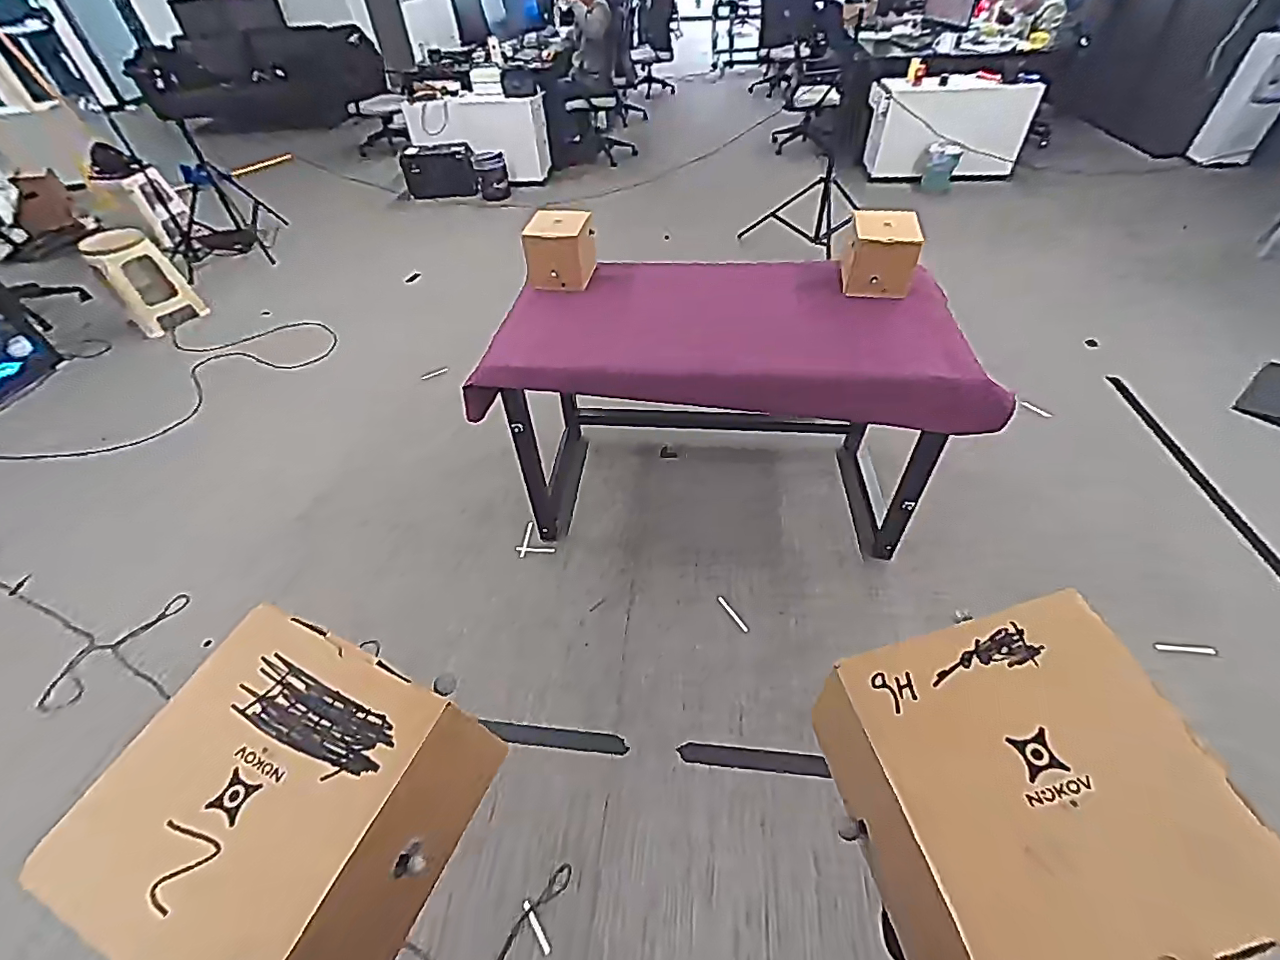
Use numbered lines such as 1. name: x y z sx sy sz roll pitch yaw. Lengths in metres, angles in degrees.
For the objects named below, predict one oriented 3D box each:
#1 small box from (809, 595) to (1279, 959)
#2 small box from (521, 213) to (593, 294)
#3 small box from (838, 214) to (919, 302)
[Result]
1. small box: 0.233 0.207 0.368 0.168 0.176 0.179 -16 56 -2
2. small box: -0.243 -0.684 1.632 0.168 0.176 0.179 6 49 8
3. small box: 0.666 -0.630 1.533 0.168 0.176 0.179 6 51 9
